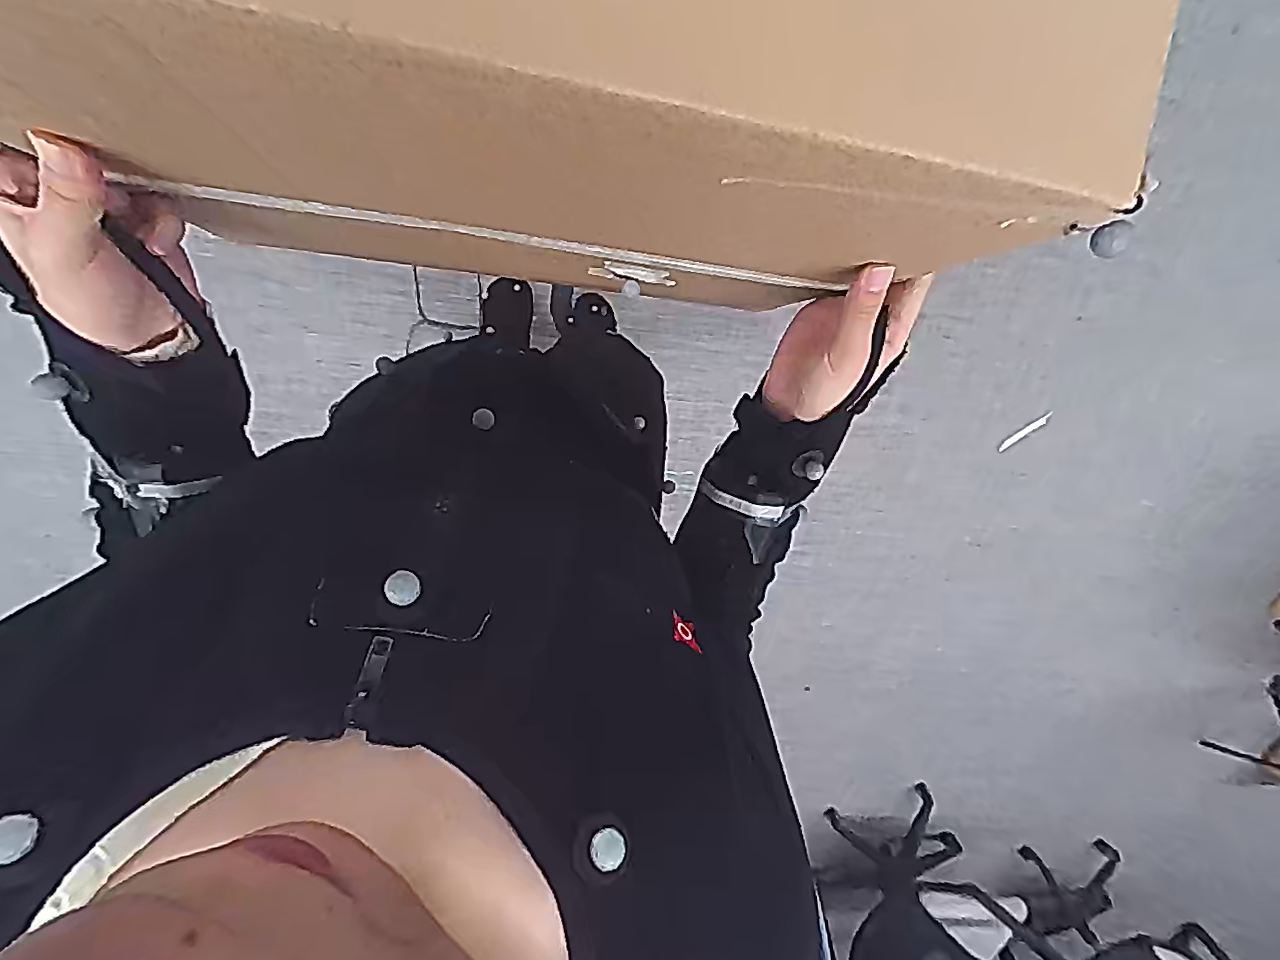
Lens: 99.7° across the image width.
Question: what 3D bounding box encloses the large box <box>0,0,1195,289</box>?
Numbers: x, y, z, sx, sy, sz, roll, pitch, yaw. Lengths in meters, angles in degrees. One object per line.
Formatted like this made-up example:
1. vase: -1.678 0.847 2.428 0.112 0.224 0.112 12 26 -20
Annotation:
1. large box: -0.045 -0.289 0.248 0.408 0.320 0.320 2 102 -13
